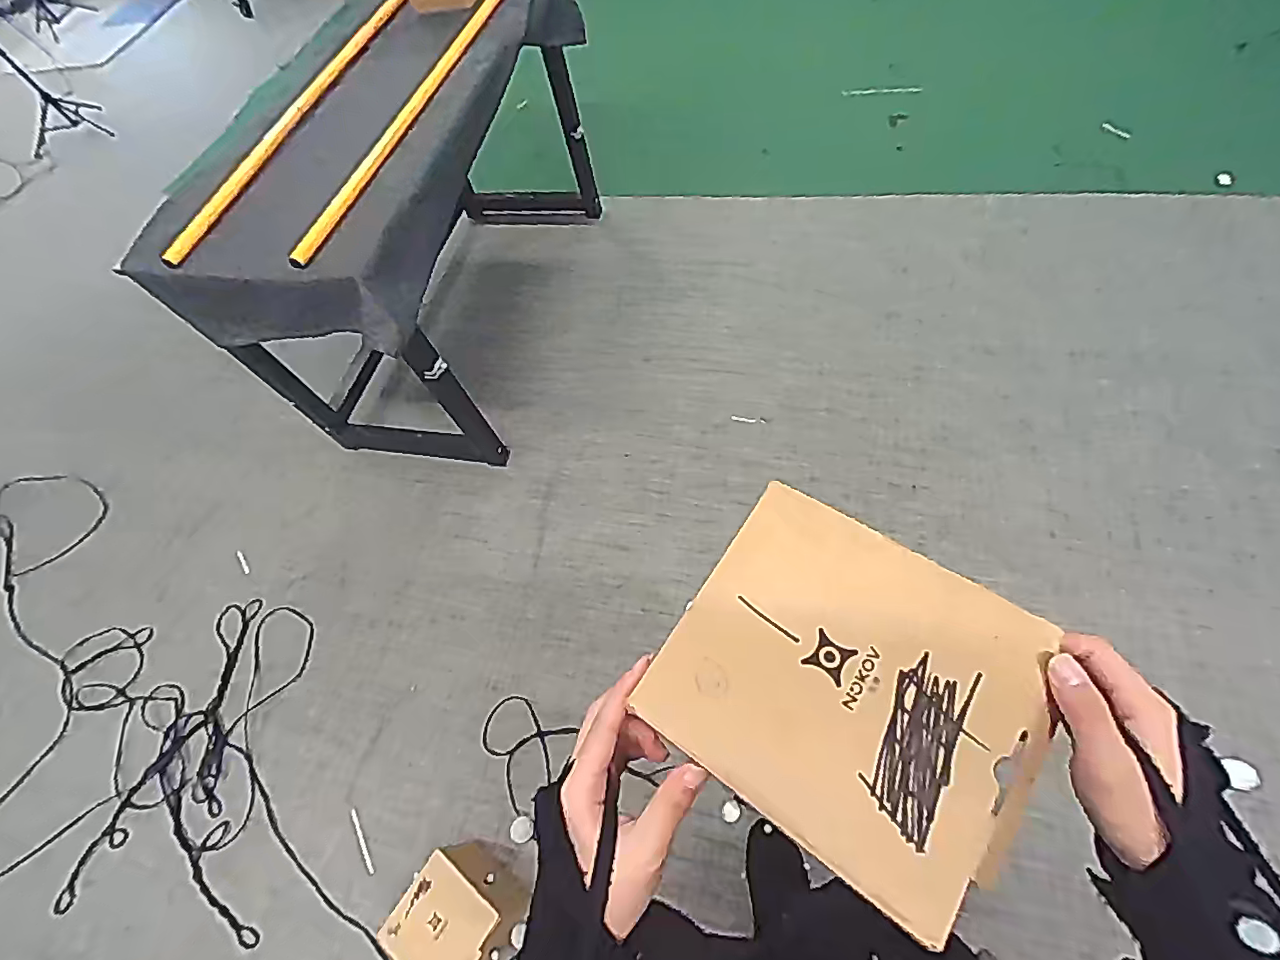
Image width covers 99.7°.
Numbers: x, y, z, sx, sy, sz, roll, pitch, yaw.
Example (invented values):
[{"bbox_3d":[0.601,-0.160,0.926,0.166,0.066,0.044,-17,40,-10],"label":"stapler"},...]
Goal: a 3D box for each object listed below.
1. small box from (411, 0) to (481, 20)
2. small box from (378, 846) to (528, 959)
[{"bbox_3d":[-0.527,-1.373,1.443,0.179,0.176,0.168,8,64,15],"label":"small box"},{"bbox_3d":[-0.344,0.834,1.030,0.179,0.176,0.168,28,70,23],"label":"small box"}]
